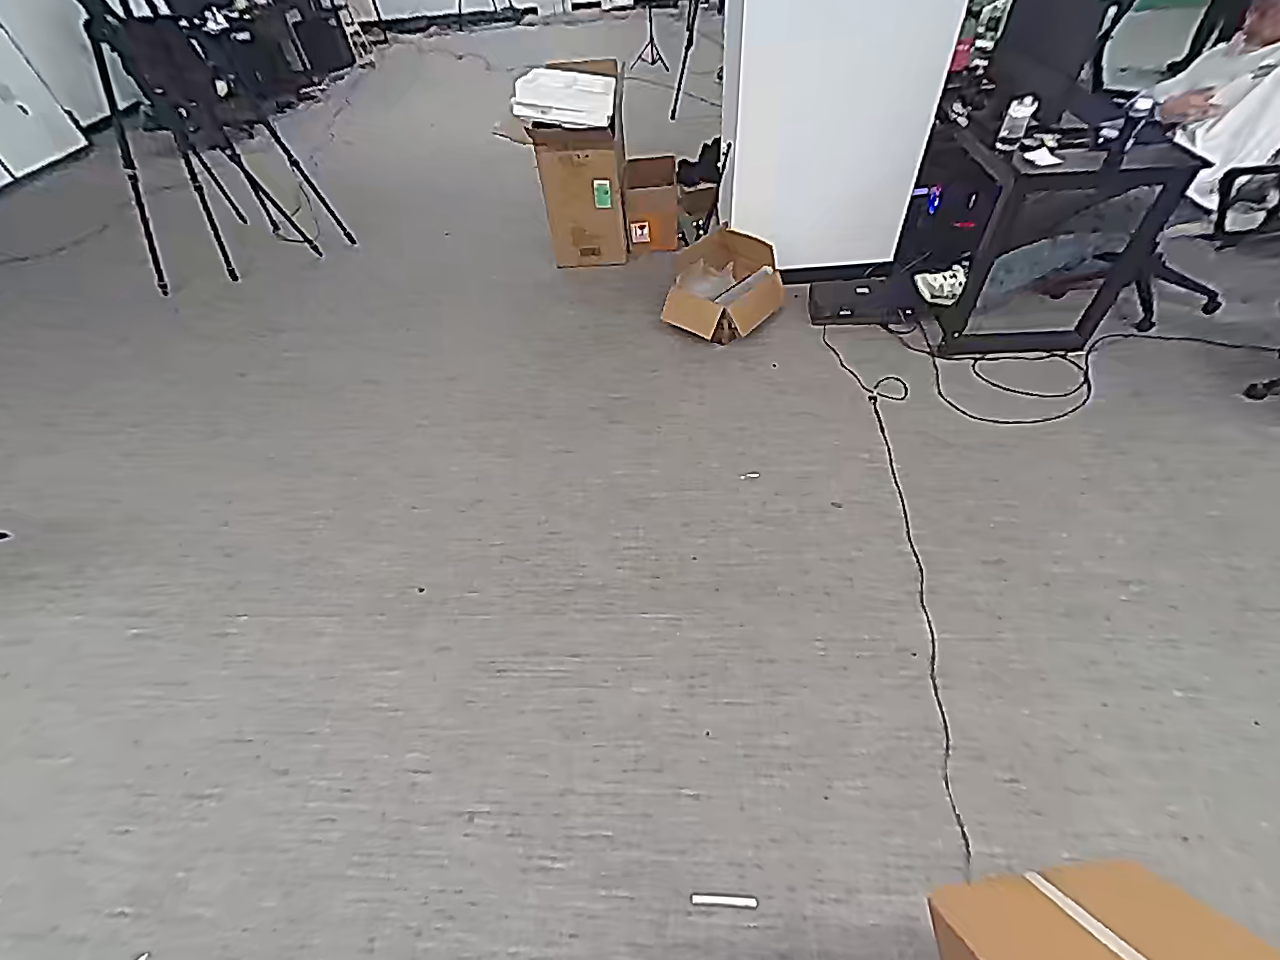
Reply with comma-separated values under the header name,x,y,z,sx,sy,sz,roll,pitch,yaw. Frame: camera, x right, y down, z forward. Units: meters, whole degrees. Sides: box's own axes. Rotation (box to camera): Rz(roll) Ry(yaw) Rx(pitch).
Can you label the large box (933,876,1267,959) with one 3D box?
name,x,y,z,sx,sy,sz,roll,pitch,yaw
large box,0.597,0.718,0.577,0.320,0.408,0.320,-9,81,-1
